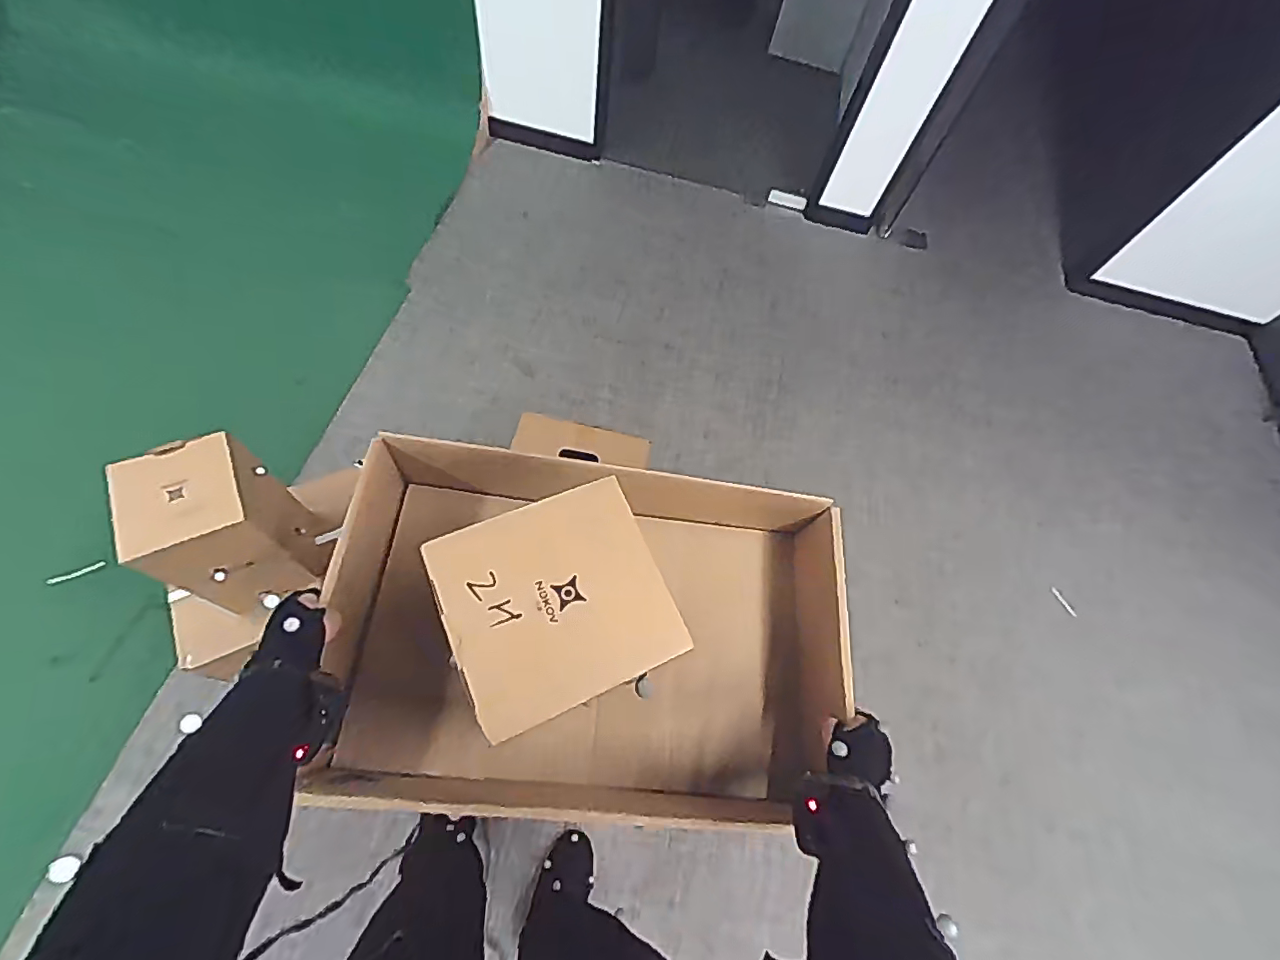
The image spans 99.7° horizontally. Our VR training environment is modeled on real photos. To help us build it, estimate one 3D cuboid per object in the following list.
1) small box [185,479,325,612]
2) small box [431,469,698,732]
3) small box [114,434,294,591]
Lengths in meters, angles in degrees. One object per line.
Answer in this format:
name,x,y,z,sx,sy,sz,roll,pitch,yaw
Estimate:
small box,-0.735,0.129,1.037,0.168,0.176,0.179,-19,67,-17
small box,-0.074,0.117,0.510,0.179,0.176,0.168,-20,70,-17
small box,-0.707,0.058,0.892,0.168,0.176,0.179,-22,68,-17
